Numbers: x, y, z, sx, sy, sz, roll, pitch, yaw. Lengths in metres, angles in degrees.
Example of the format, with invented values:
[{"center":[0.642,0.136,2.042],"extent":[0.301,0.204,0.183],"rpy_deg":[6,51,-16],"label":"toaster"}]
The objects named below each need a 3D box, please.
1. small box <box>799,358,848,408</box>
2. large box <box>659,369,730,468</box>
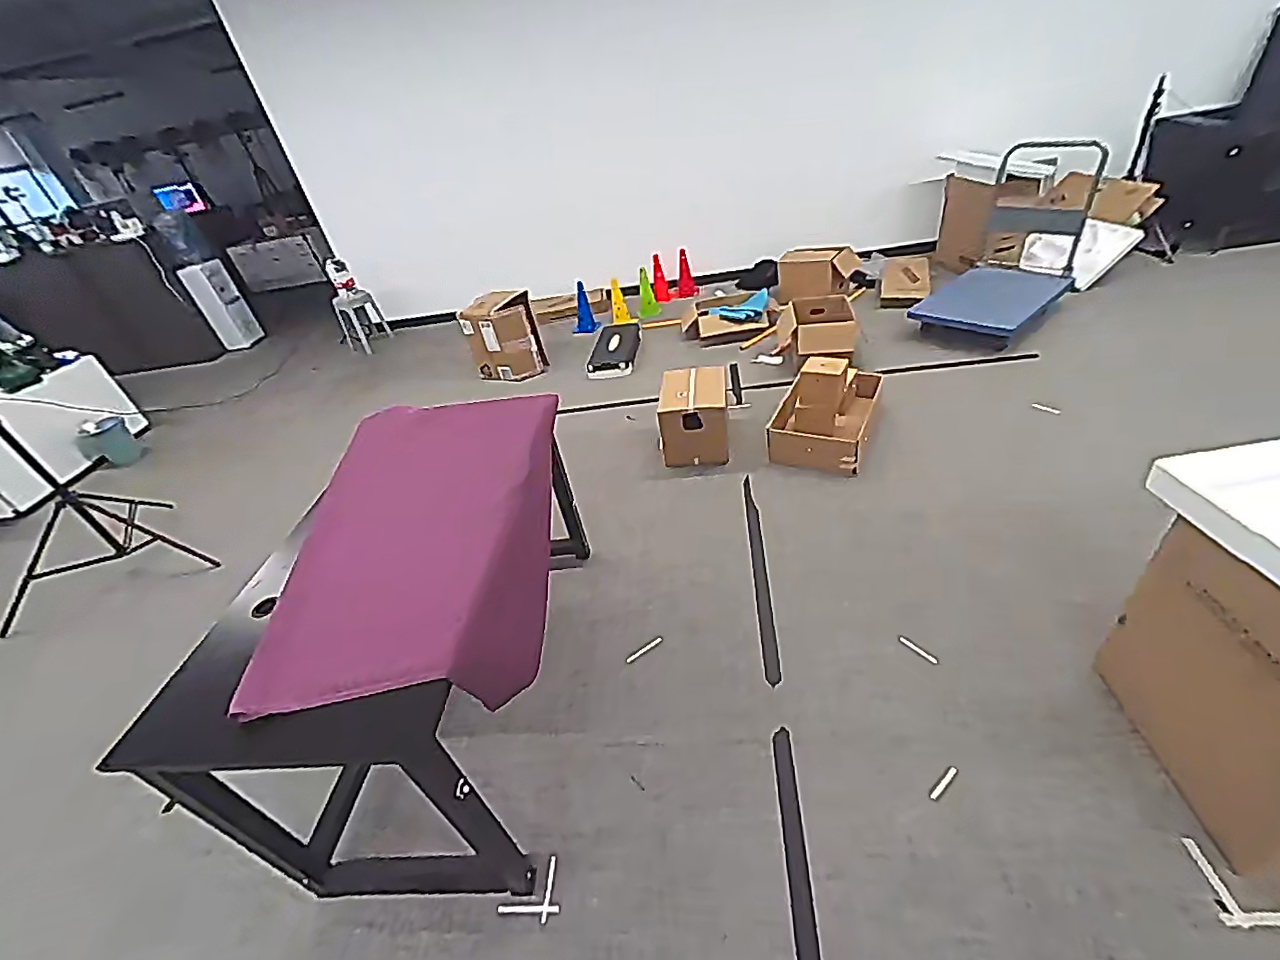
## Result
[{"center":[0.831,-0.441,2.453],"extent":[0.179,0.176,0.168],"rpy_deg":[13,41,28],"label":"small box"},{"center":[0.278,-0.307,2.666],"extent":[0.320,0.320,0.408],"rpy_deg":[-5,38,11],"label":"large box"}]
